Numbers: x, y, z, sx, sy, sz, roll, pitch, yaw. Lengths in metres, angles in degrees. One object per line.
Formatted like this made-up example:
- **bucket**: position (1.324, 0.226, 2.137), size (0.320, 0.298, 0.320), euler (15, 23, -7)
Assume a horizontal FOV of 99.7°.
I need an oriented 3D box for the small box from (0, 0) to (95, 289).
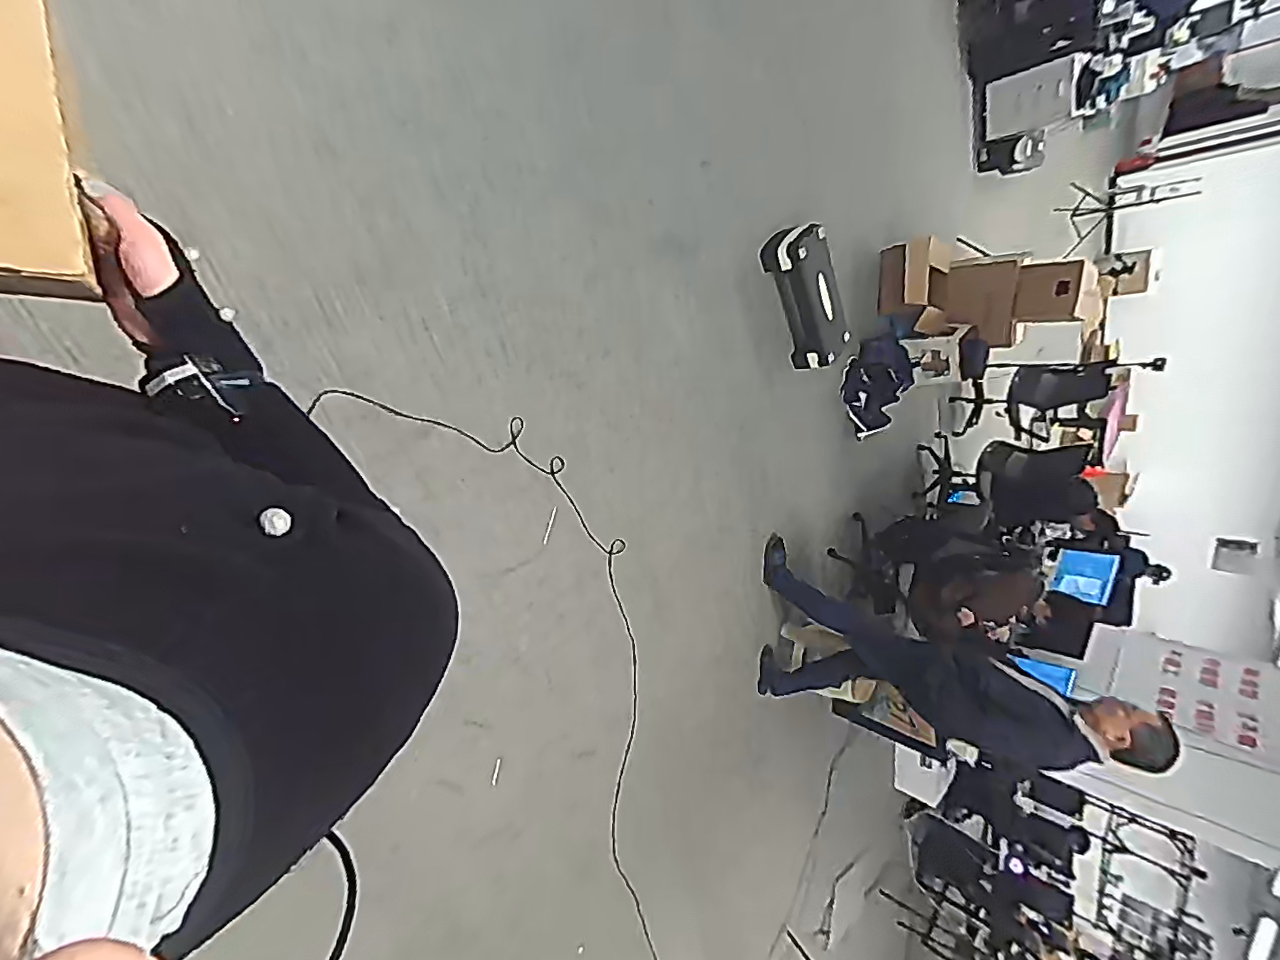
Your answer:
- **small box**: position (-0.459, -0.218, 0.325), size (0.168, 0.176, 0.179), euler (-8, 105, -41)
